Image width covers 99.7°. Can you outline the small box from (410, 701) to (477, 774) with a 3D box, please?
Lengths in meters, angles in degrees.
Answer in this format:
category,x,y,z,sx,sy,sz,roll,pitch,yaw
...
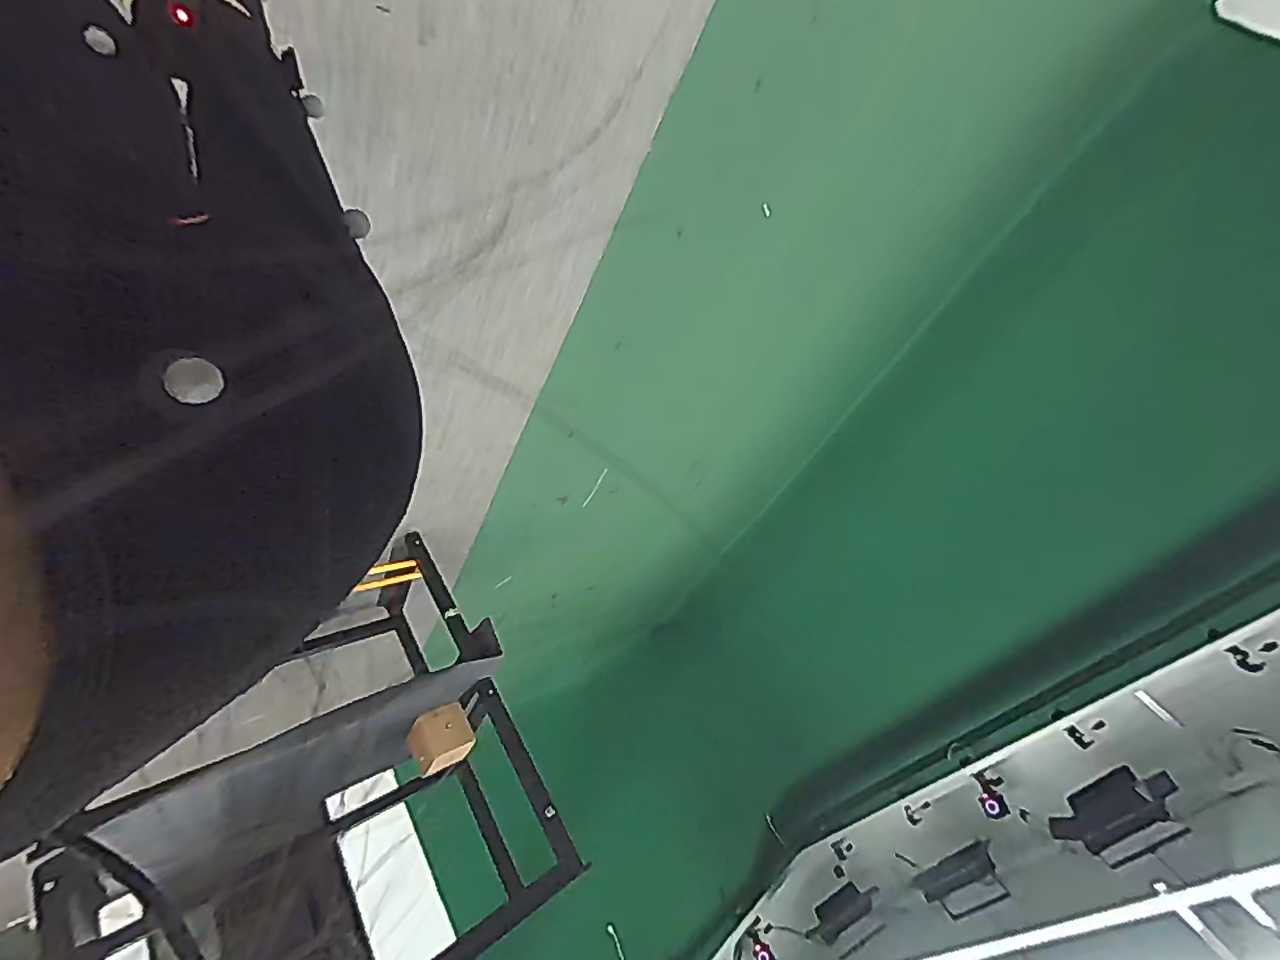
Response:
category,x,y,z,sx,sy,sz,roll,pitch,yaw
small box,-0.748,0.961,2.040,0.168,0.176,0.179,-7,141,-46
